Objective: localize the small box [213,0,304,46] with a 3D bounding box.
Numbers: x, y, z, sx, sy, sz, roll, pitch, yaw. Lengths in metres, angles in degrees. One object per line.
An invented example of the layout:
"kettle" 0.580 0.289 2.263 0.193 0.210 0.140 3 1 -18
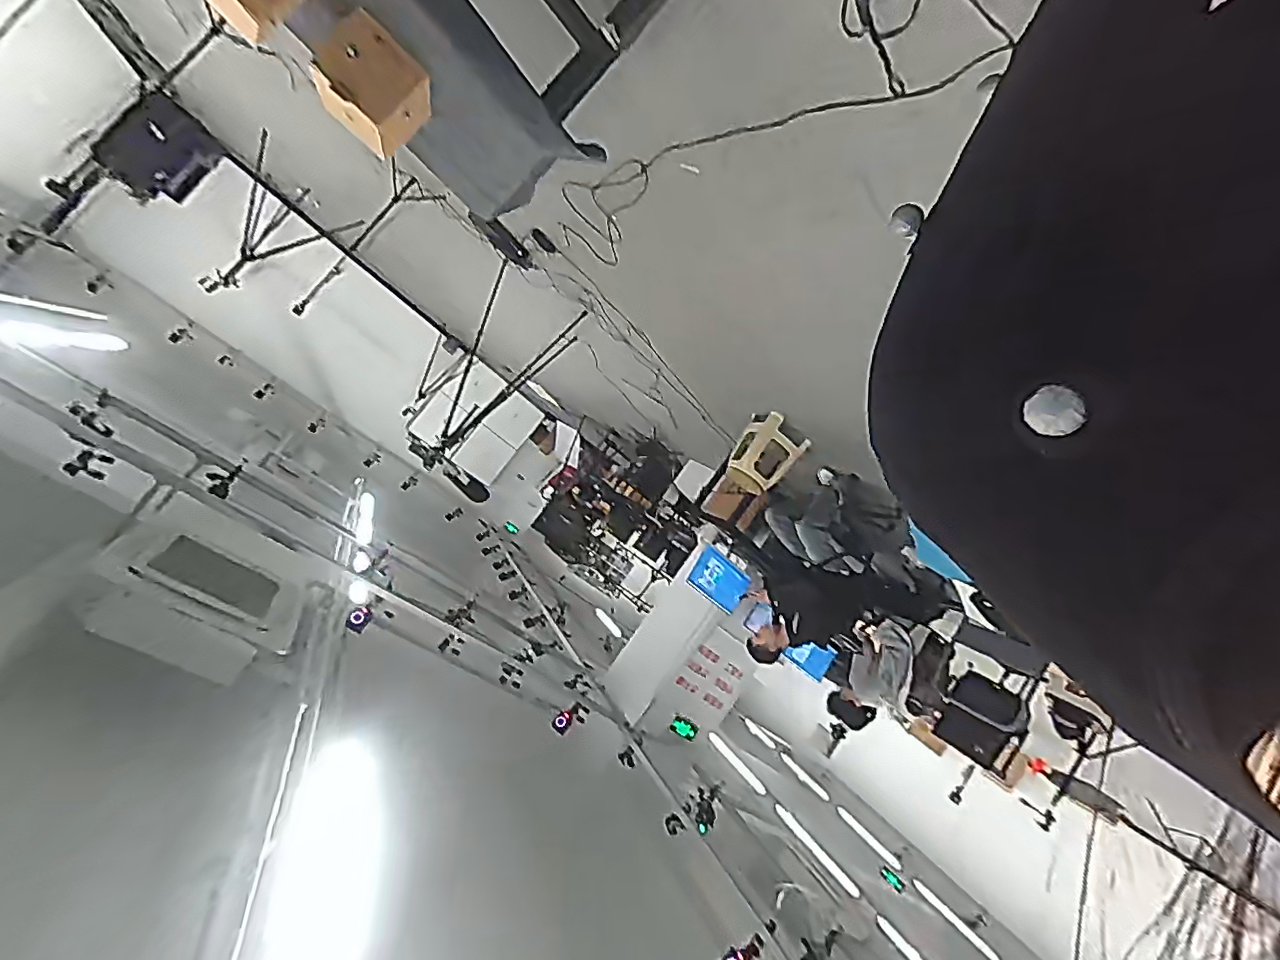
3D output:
"small box" -0.784 -1.029 1.080 0.179 0.176 0.168 28 169 48

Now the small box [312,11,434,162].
"small box" -0.572 -0.855 1.184 0.168 0.176 0.179 41 173 -19
